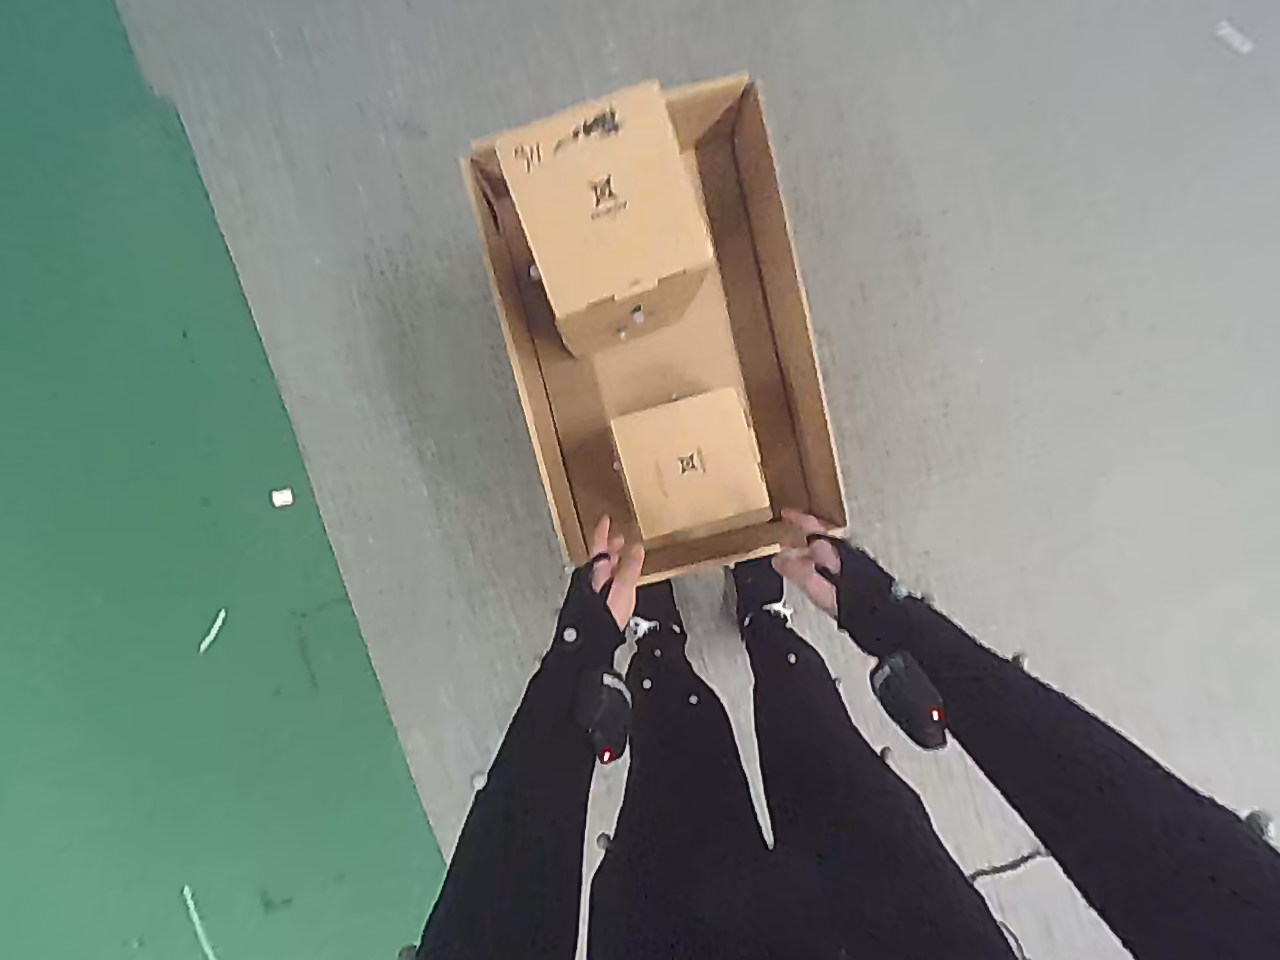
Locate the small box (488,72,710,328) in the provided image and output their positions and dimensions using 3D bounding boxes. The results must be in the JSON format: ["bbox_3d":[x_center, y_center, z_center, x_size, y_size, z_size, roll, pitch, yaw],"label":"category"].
[{"bbox_3d":[-0.036,-0.274,0.581,0.168,0.176,0.179,-20,97,1],"label":"small box"}]
